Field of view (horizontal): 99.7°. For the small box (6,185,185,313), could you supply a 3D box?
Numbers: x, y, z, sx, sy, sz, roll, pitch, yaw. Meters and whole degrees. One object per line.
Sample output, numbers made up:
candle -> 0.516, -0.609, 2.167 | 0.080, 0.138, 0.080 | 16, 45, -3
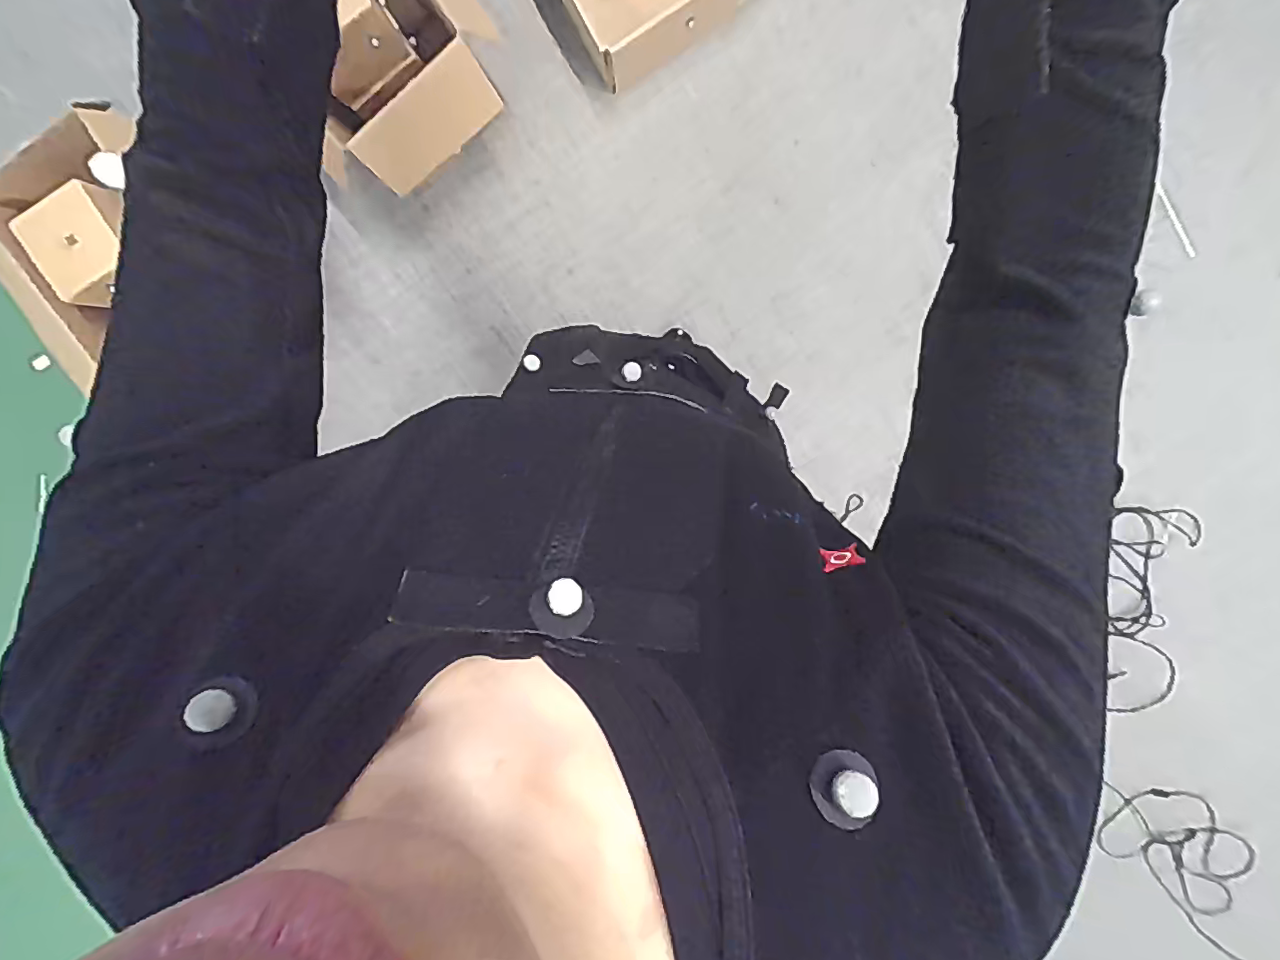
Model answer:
small box -> -1.105, -0.467, 1.121 | 0.179, 0.176, 0.168 | -29, 99, 6
